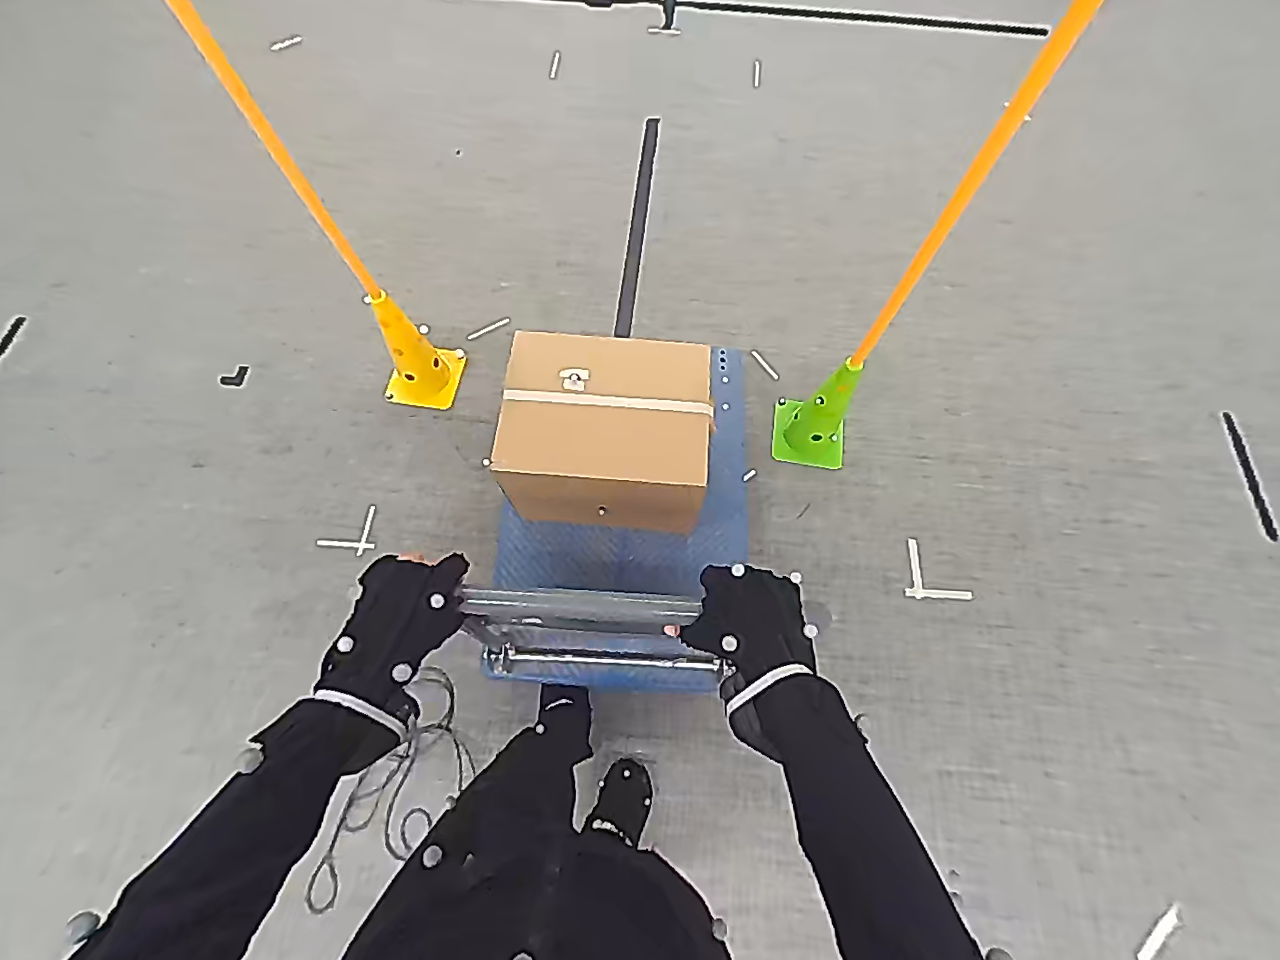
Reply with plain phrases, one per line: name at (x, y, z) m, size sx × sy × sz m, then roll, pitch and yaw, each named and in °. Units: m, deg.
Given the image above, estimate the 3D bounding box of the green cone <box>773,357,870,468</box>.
green cone at (0.495, -0.199, 1.403) m, size 0.202 × 0.368 × 0.200 m, roll 10°, pitch 69°, yaw 2°

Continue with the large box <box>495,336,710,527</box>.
large box at (-0.062, -0.092, 1.197) m, size 0.408 × 0.320 × 0.320 m, roll 5°, pitch 68°, yaw 2°
